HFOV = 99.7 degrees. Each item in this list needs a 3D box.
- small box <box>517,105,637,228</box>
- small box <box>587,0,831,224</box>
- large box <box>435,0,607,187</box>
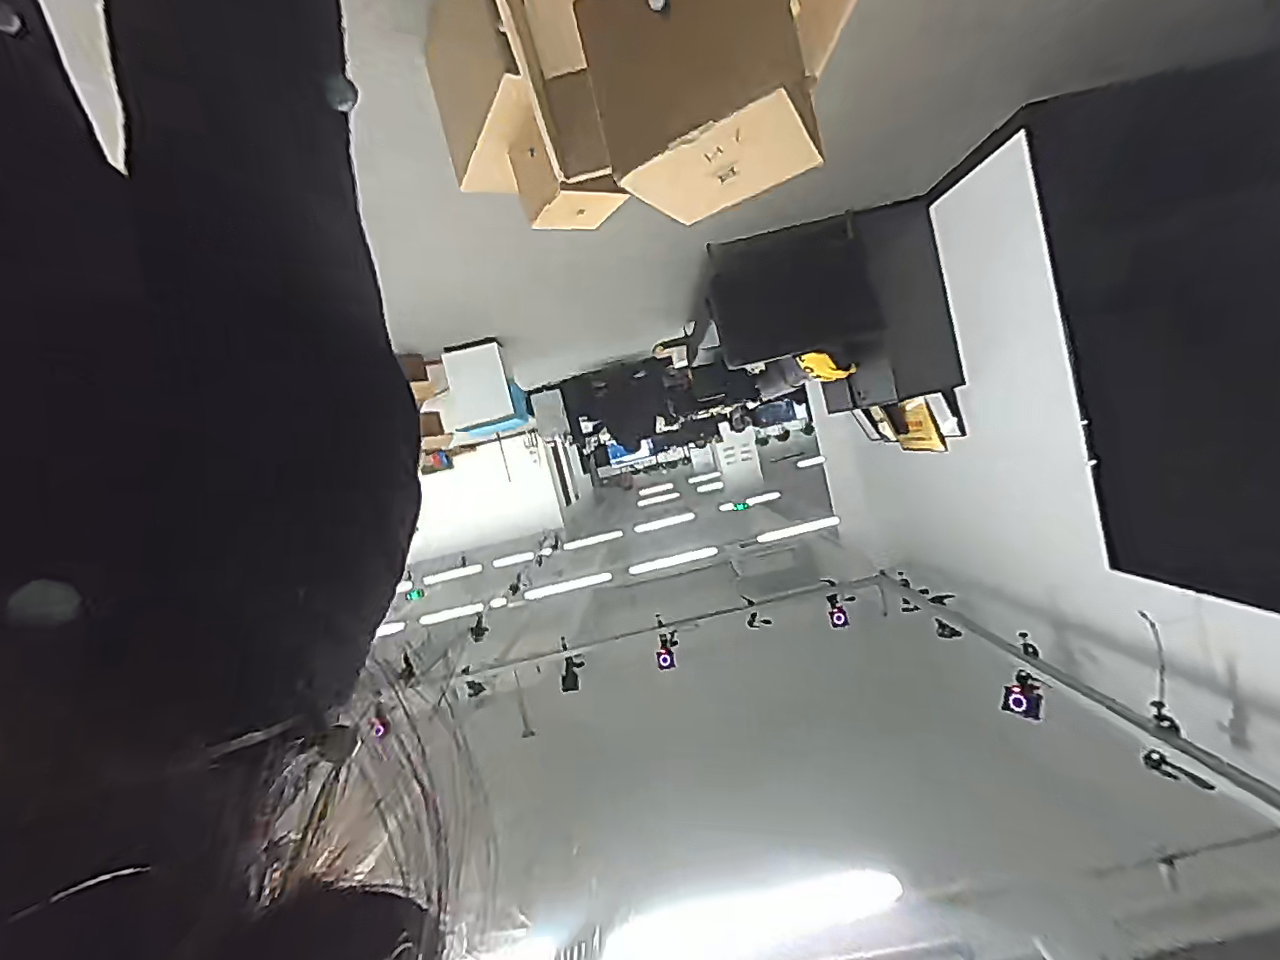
[{"bbox_3d":[-0.136,-0.656,1.146,0.179,0.176,0.168,-17,-174,-33],"label":"small box"},{"bbox_3d":[0.074,-0.382,0.524,0.168,0.176,0.179,-12,-177,30],"label":"small box"},{"bbox_3d":[-0.220,-0.888,1.162,0.320,0.320,0.408,-15,-174,-29],"label":"large box"}]
